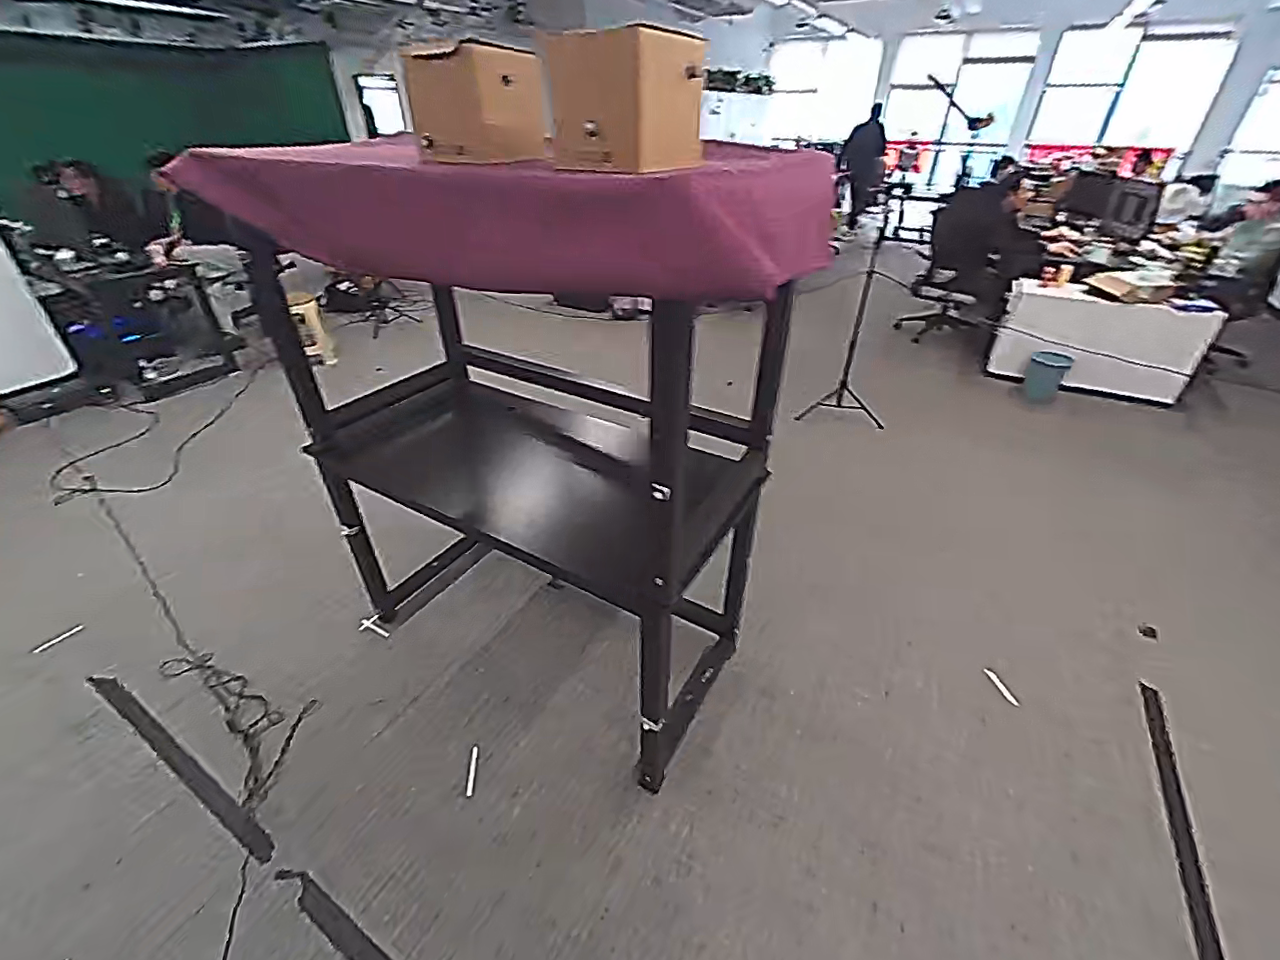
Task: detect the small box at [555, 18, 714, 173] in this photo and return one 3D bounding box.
[{"bbox_3d":[-0.008,-0.565,0.809,0.168,0.176,0.179,21,39,29],"label":"small box"}]

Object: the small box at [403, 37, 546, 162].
[{"bbox_3d":[-0.282,-0.669,0.965,0.168,0.176,0.179,16,36,21],"label":"small box"}]
